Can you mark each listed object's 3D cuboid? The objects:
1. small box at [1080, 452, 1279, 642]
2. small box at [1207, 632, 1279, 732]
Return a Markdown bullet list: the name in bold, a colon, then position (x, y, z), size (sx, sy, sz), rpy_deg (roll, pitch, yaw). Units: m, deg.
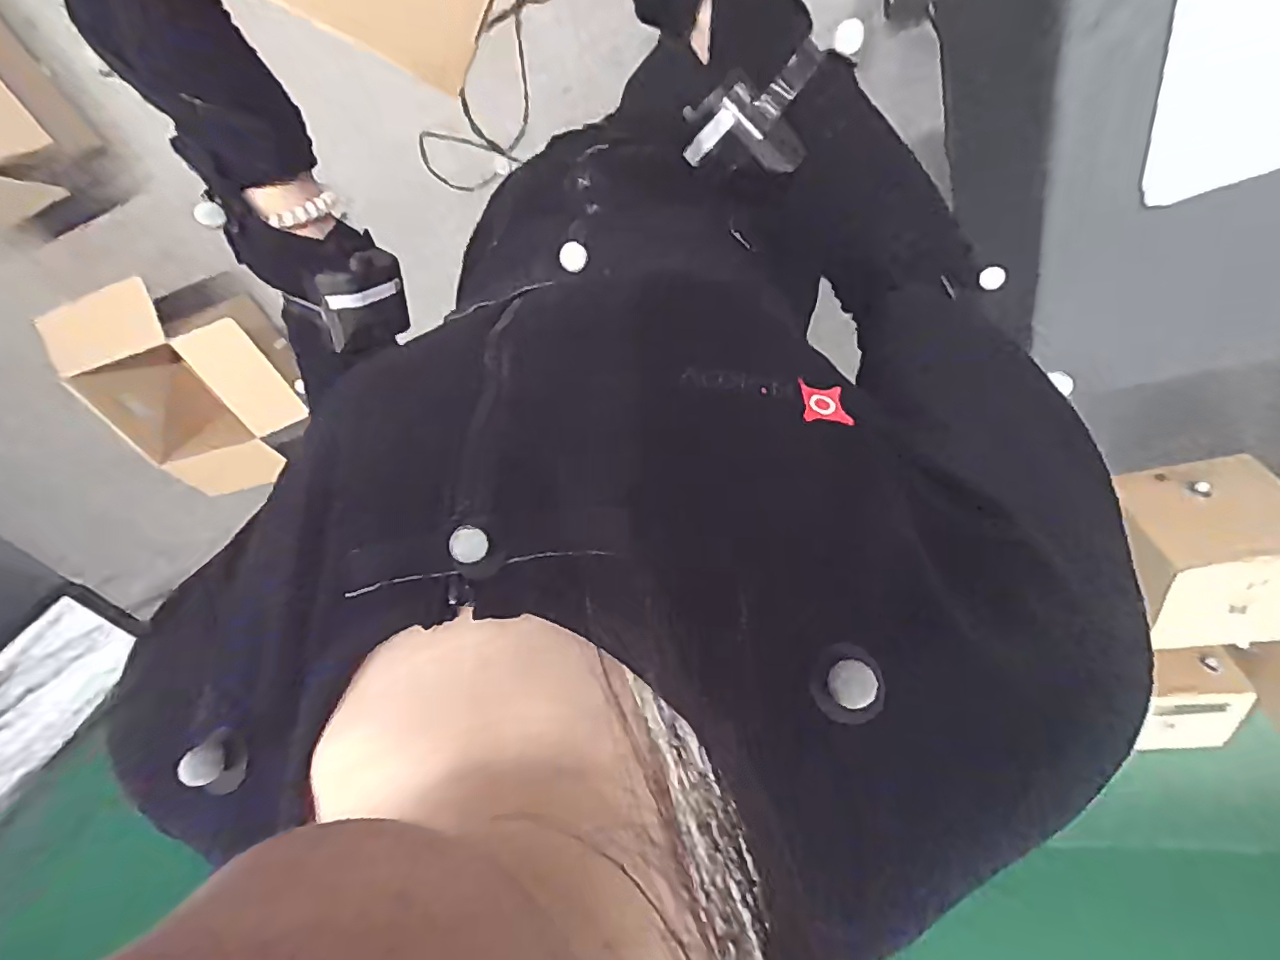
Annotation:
- **small box**: position (0.727, 0.090, 0.718), size (0.168, 0.176, 0.179), rpy_deg (-11, 128, 16)
- **small box**: position (1.049, 0.264, 0.826), size (0.179, 0.176, 0.168), rpy_deg (-9, 129, 16)
